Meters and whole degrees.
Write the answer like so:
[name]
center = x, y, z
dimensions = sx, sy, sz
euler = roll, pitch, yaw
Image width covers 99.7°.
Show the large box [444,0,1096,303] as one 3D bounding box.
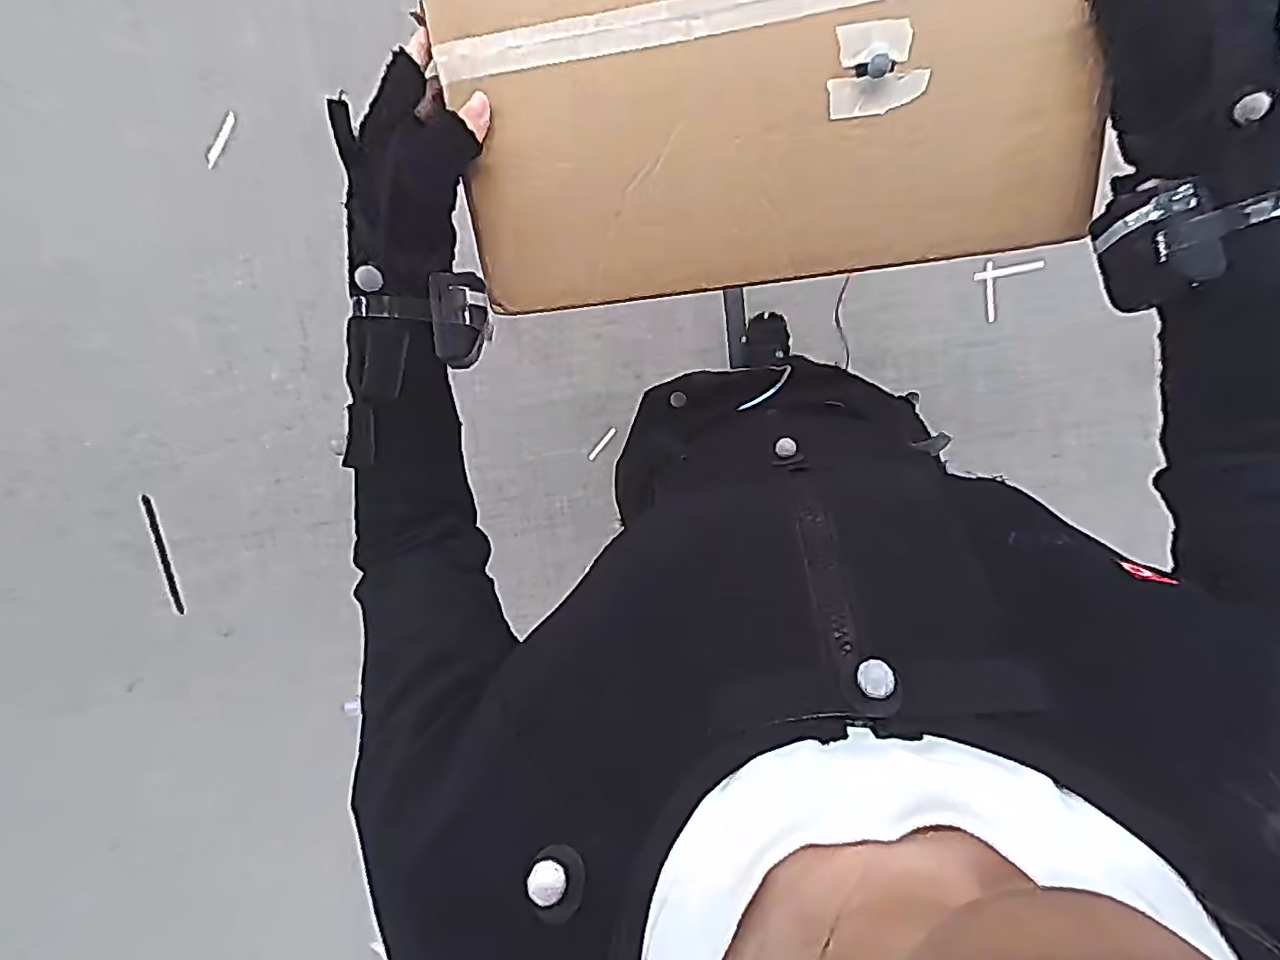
[large box]
center = 0.083, -0.350, 0.477
dimensions = 0.408, 0.320, 0.320
euler = -6, 110, 7
